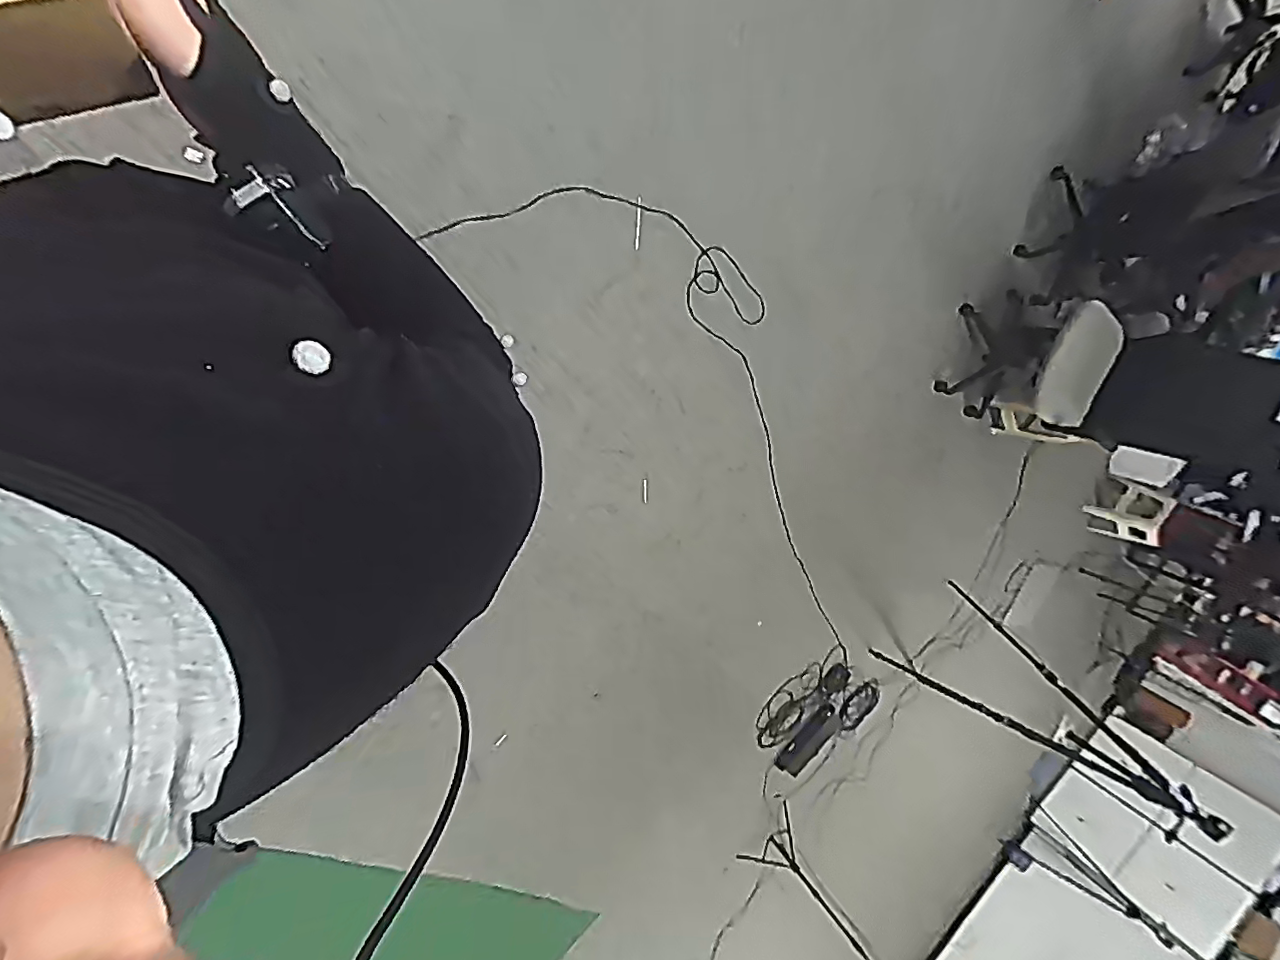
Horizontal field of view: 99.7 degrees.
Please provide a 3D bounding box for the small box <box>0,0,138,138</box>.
[{"bbox_3d":[-0.392,-0.274,0.249,0.168,0.176,0.179,-32,123,-22],"label":"small box"}]
